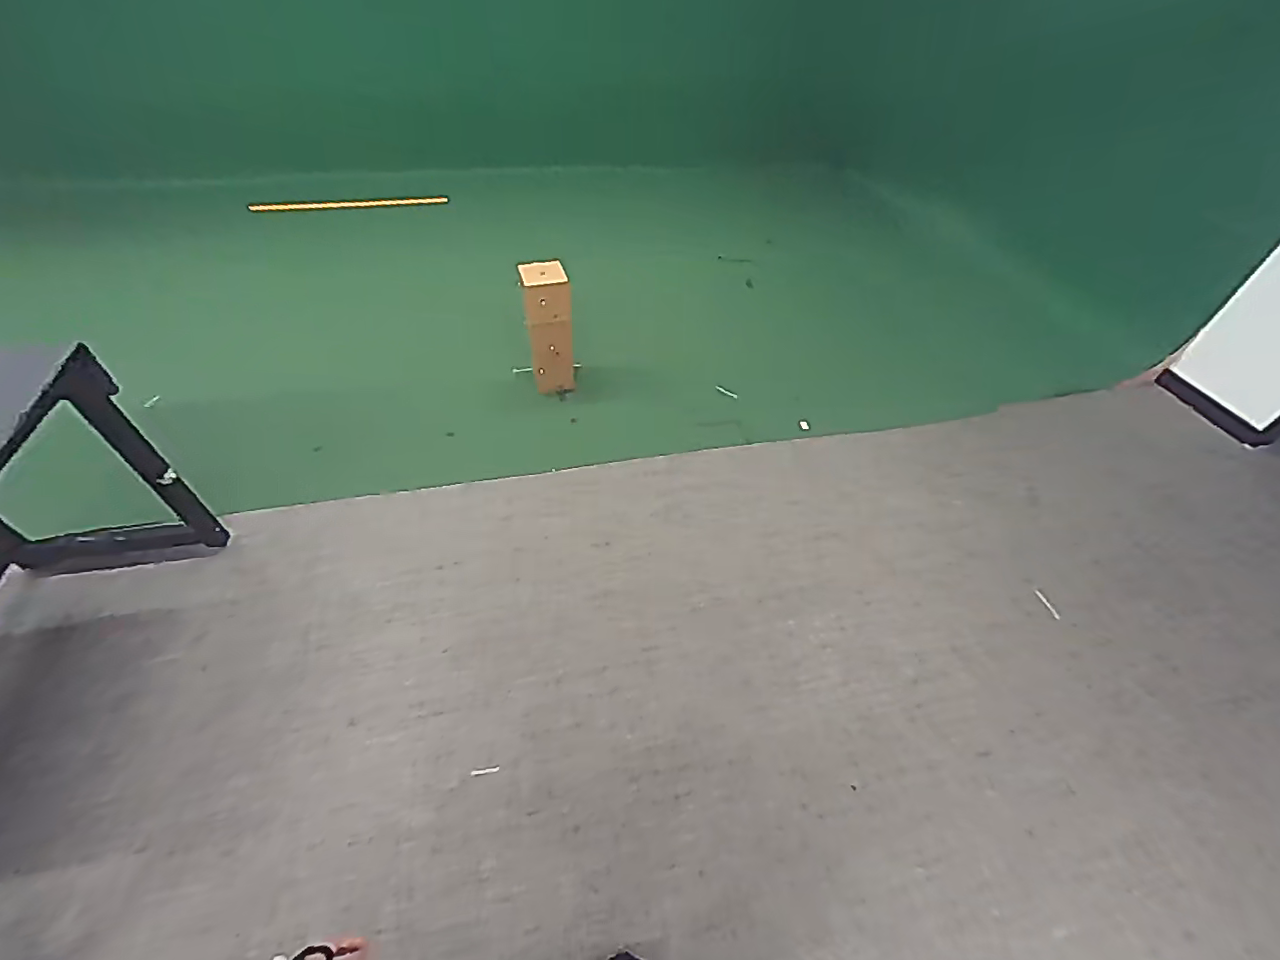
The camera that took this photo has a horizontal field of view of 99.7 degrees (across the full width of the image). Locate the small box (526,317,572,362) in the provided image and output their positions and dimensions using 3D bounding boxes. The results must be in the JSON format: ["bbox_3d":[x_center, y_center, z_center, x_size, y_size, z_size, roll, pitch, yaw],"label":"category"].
[{"bbox_3d":[-0.382,-0.613,2.257,0.168,0.176,0.179,-10,48,-11],"label":"small box"}]

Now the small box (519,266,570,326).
[{"bbox_3d":[-0.375,-0.722,2.137,0.168,0.176,0.179,-12,48,-13],"label":"small box"}]
